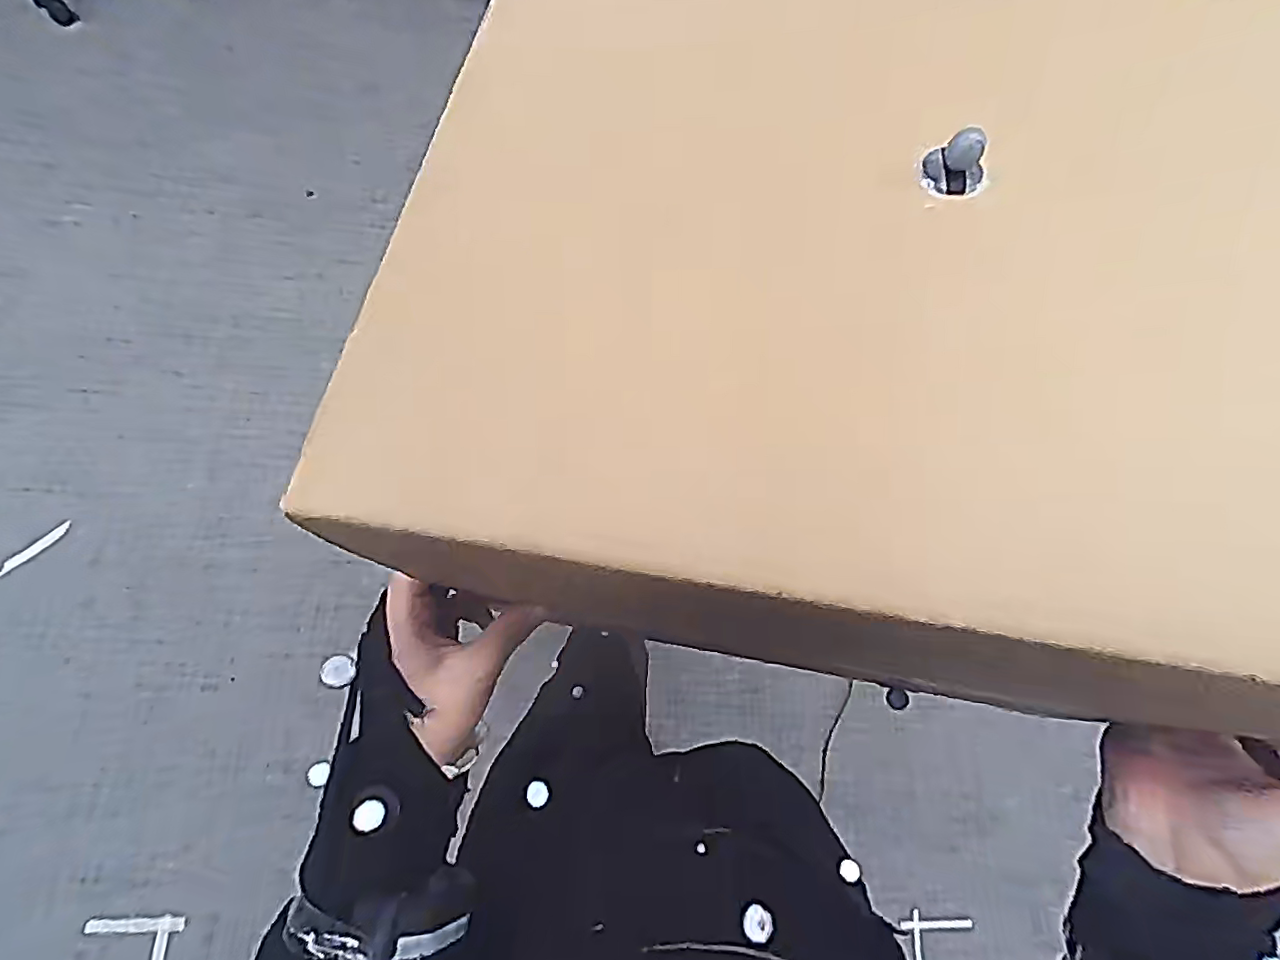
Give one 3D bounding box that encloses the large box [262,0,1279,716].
[{"bbox_3d":[0.101,-0.059,0.339,0.408,0.320,0.320,8,72,5],"label":"large box"}]
